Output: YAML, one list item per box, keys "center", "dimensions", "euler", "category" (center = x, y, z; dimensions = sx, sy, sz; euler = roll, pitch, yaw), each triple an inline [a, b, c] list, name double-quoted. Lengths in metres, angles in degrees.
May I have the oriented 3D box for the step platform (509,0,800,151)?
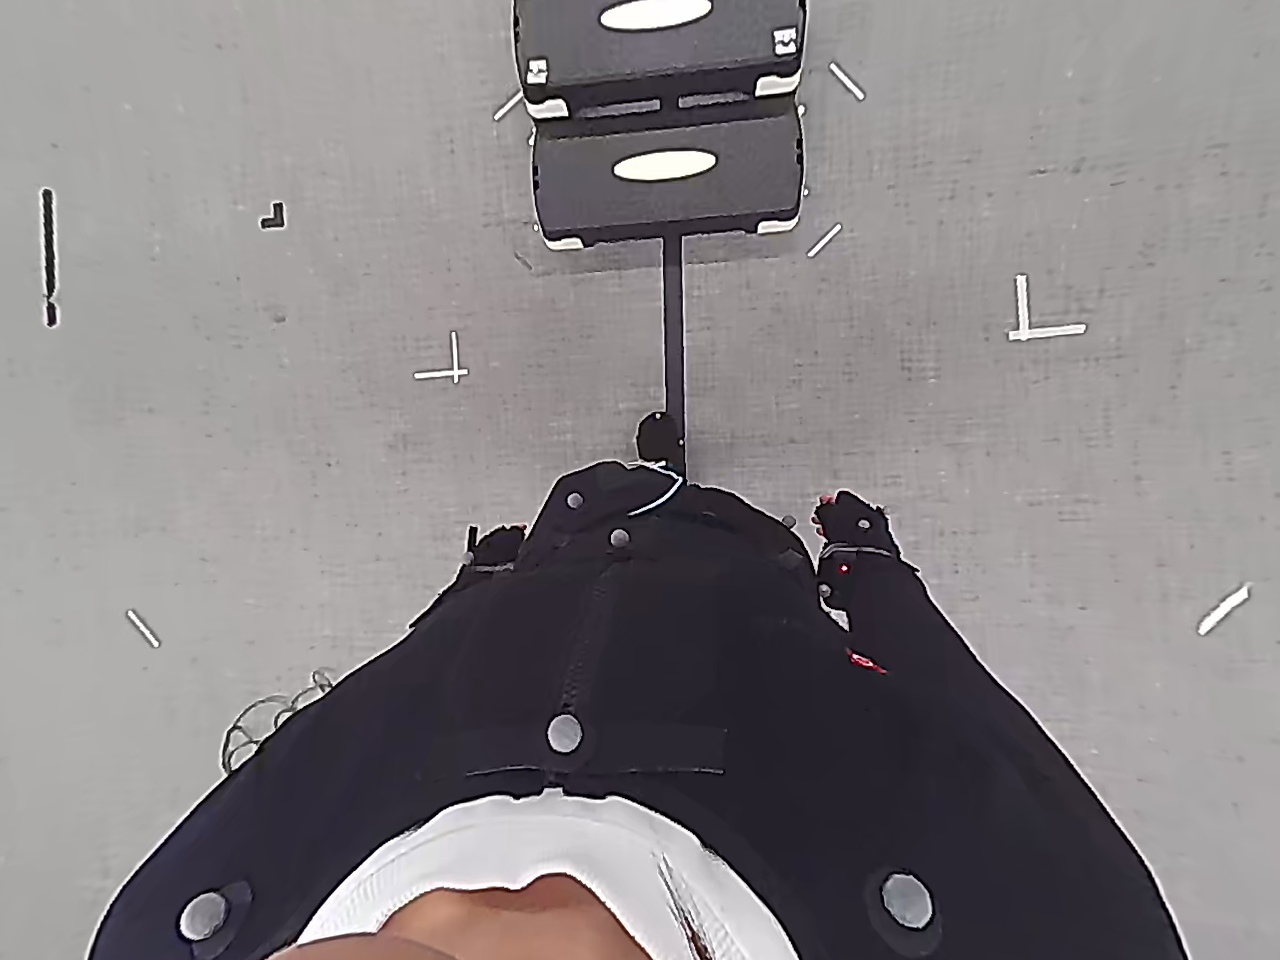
- center: [0.033, -1.025, 1.309]
  dimensions: [0.684, 0.204, 0.286]
  euler: [-3, 92, 5]
  category: "step platform"
